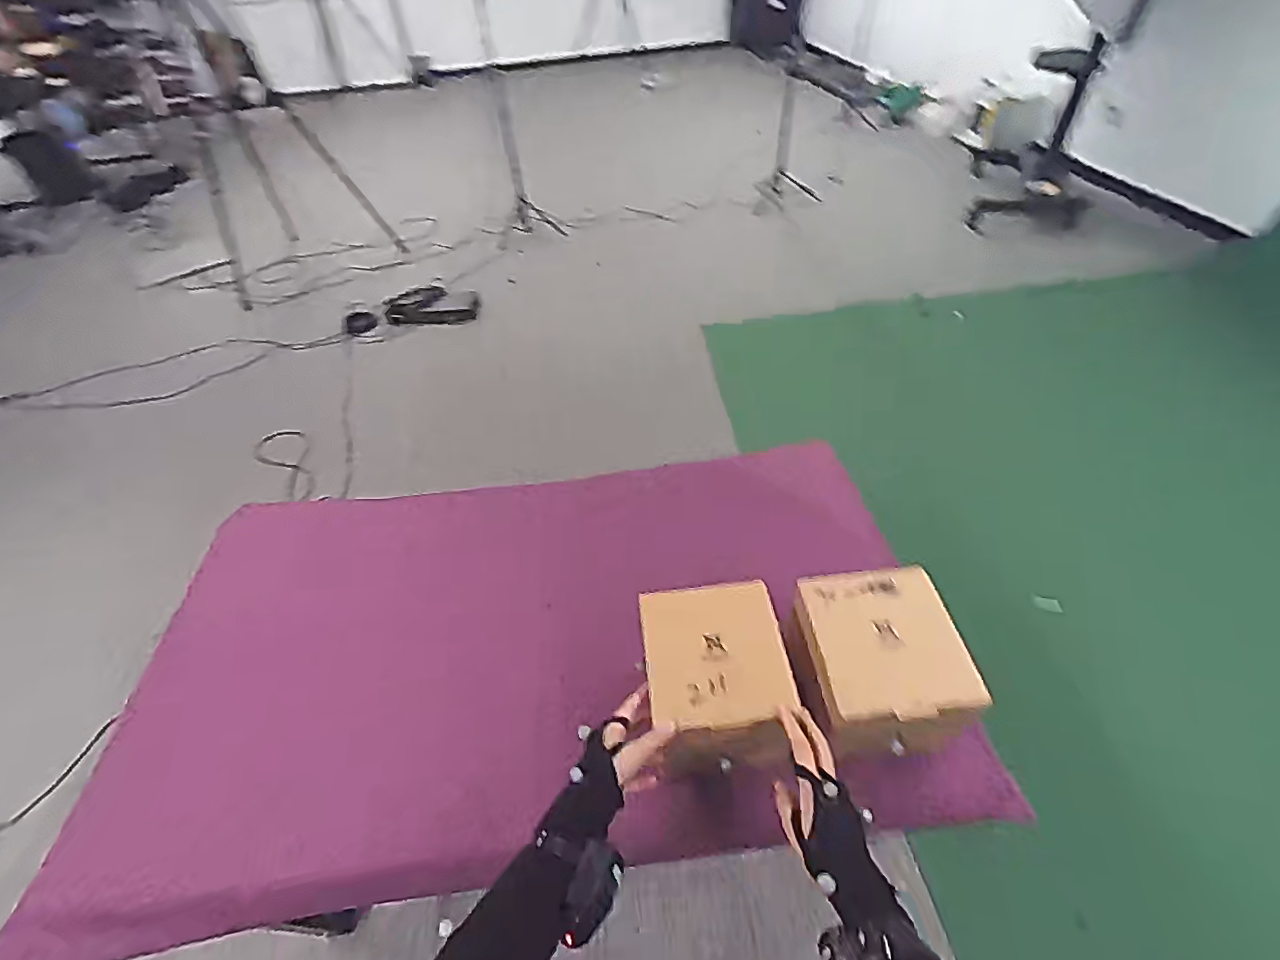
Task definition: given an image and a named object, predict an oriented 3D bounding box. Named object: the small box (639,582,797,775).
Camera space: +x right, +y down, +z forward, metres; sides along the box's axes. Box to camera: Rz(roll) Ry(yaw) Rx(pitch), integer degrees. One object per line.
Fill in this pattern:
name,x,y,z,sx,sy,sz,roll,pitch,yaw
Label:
small box,0.090,0.257,0.700,0.168,0.176,0.179,-7,47,0
